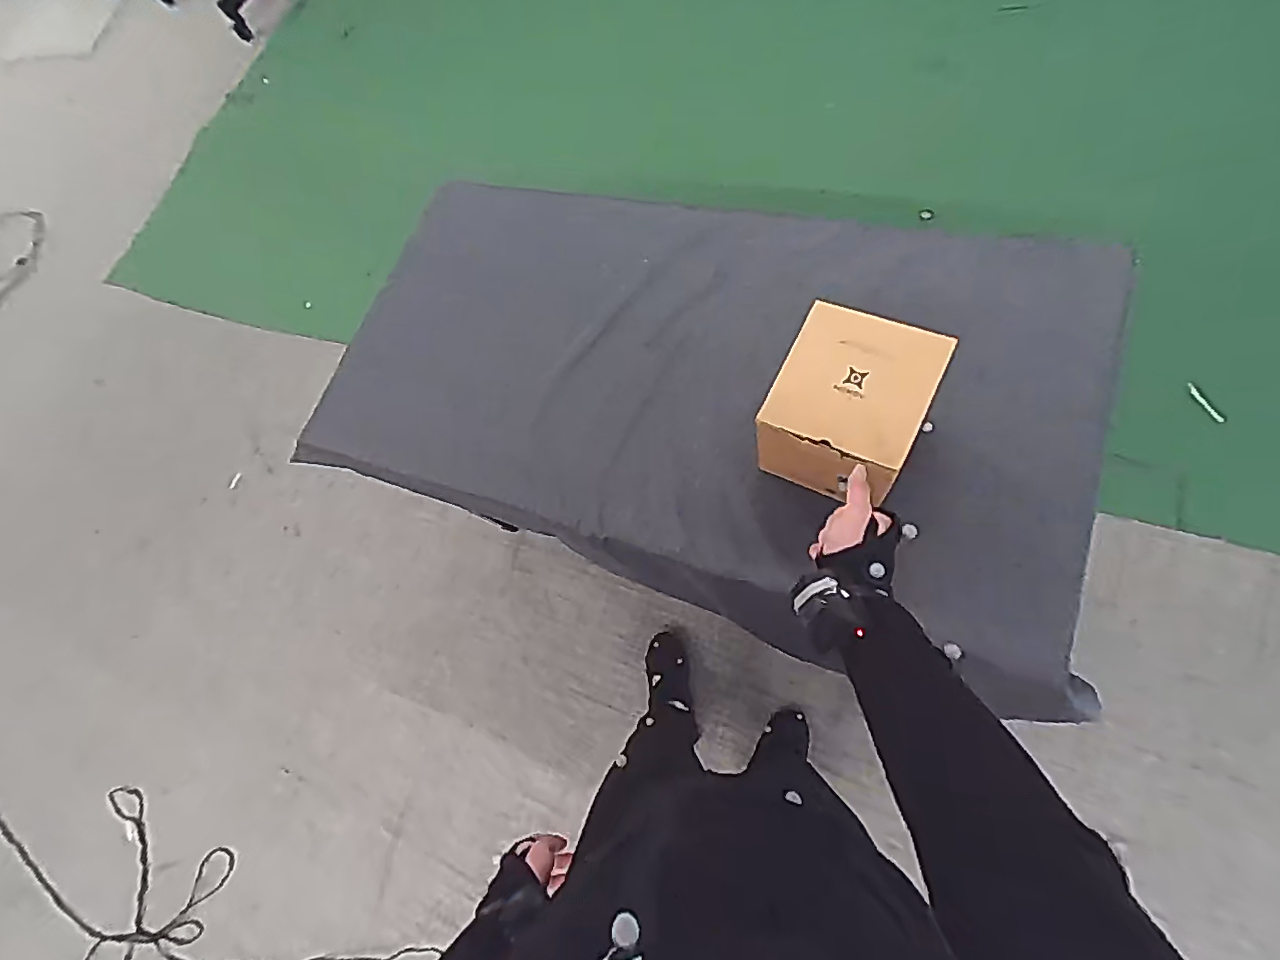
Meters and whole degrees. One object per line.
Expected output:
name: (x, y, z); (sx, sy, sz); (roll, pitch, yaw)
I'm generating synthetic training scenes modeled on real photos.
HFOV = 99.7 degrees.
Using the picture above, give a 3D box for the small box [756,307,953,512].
small box: (0.262, -0.081, 0.690); (0.168, 0.176, 0.179); (24, 77, 20)
